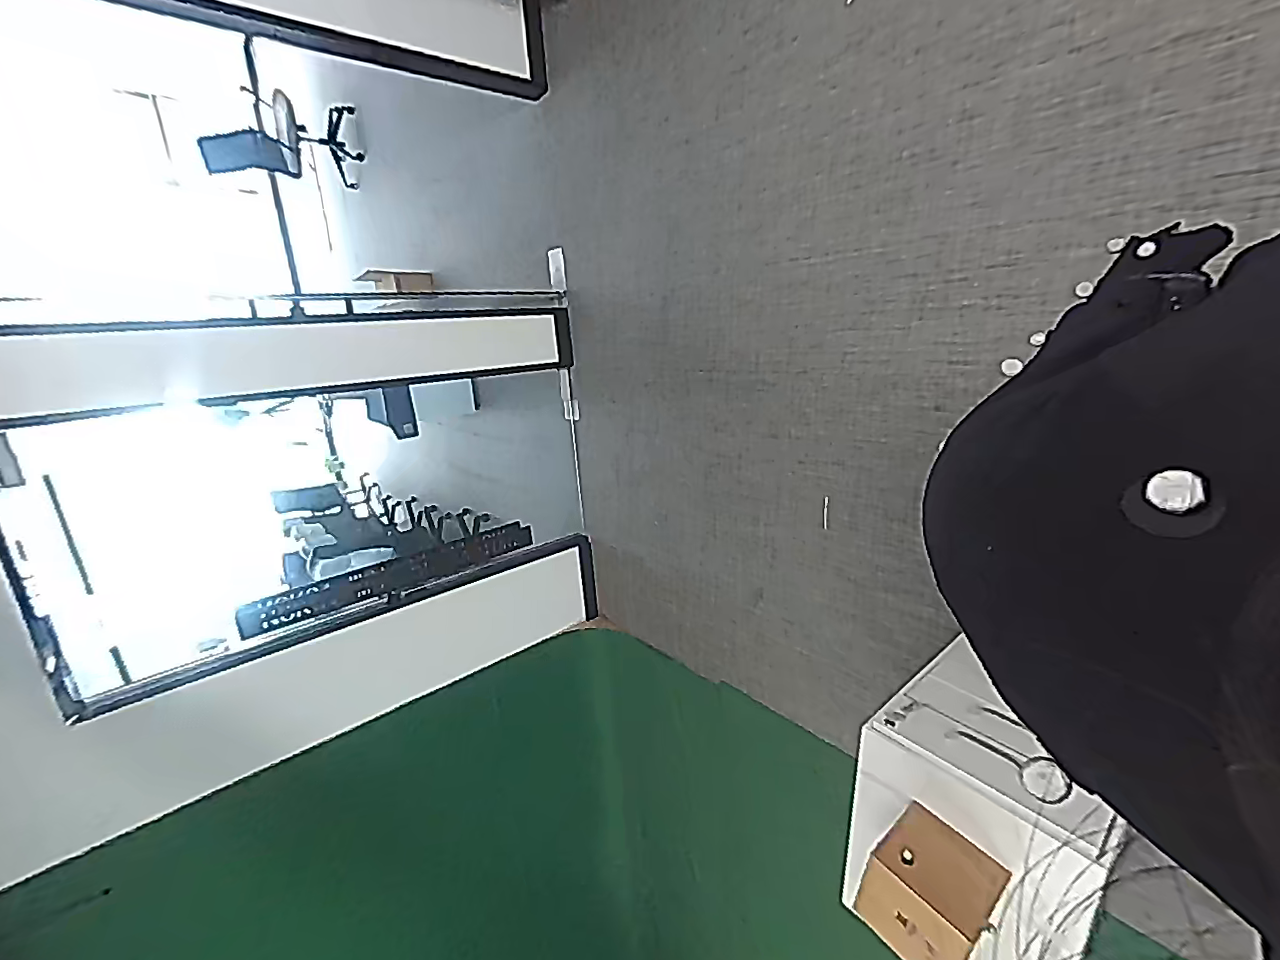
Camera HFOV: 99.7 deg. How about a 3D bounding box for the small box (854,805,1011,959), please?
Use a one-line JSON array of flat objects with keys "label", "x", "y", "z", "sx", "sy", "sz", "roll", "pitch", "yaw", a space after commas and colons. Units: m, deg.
[{"label": "small box", "x": 0.522, "y": 0.728, "z": 0.973, "sx": 0.179, "sy": 0.176, "sz": 0.168, "roll": 28, "pitch": 124, "yaw": 44}]
